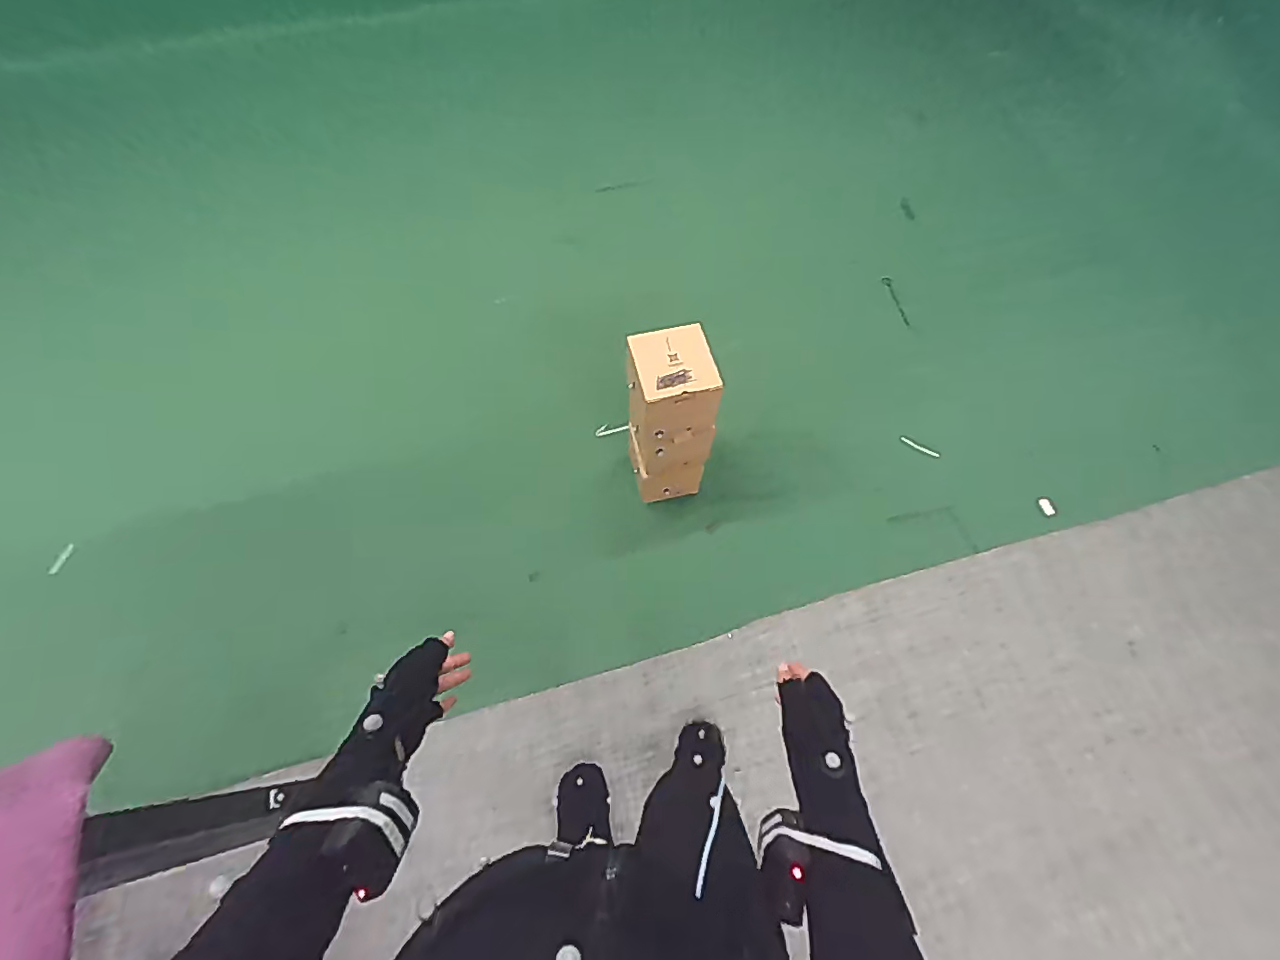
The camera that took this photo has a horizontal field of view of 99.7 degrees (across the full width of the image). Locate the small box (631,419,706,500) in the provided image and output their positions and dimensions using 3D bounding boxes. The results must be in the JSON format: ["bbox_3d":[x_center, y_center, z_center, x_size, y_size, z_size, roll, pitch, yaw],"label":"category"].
[{"bbox_3d":[0.072,-0.067,1.500,0.168,0.176,0.179,-12,66,-6],"label":"small box"}]

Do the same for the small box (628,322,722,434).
[{"bbox_3d":[0.072,-0.218,1.207,0.168,0.176,0.179,-13,65,-7],"label":"small box"}]
